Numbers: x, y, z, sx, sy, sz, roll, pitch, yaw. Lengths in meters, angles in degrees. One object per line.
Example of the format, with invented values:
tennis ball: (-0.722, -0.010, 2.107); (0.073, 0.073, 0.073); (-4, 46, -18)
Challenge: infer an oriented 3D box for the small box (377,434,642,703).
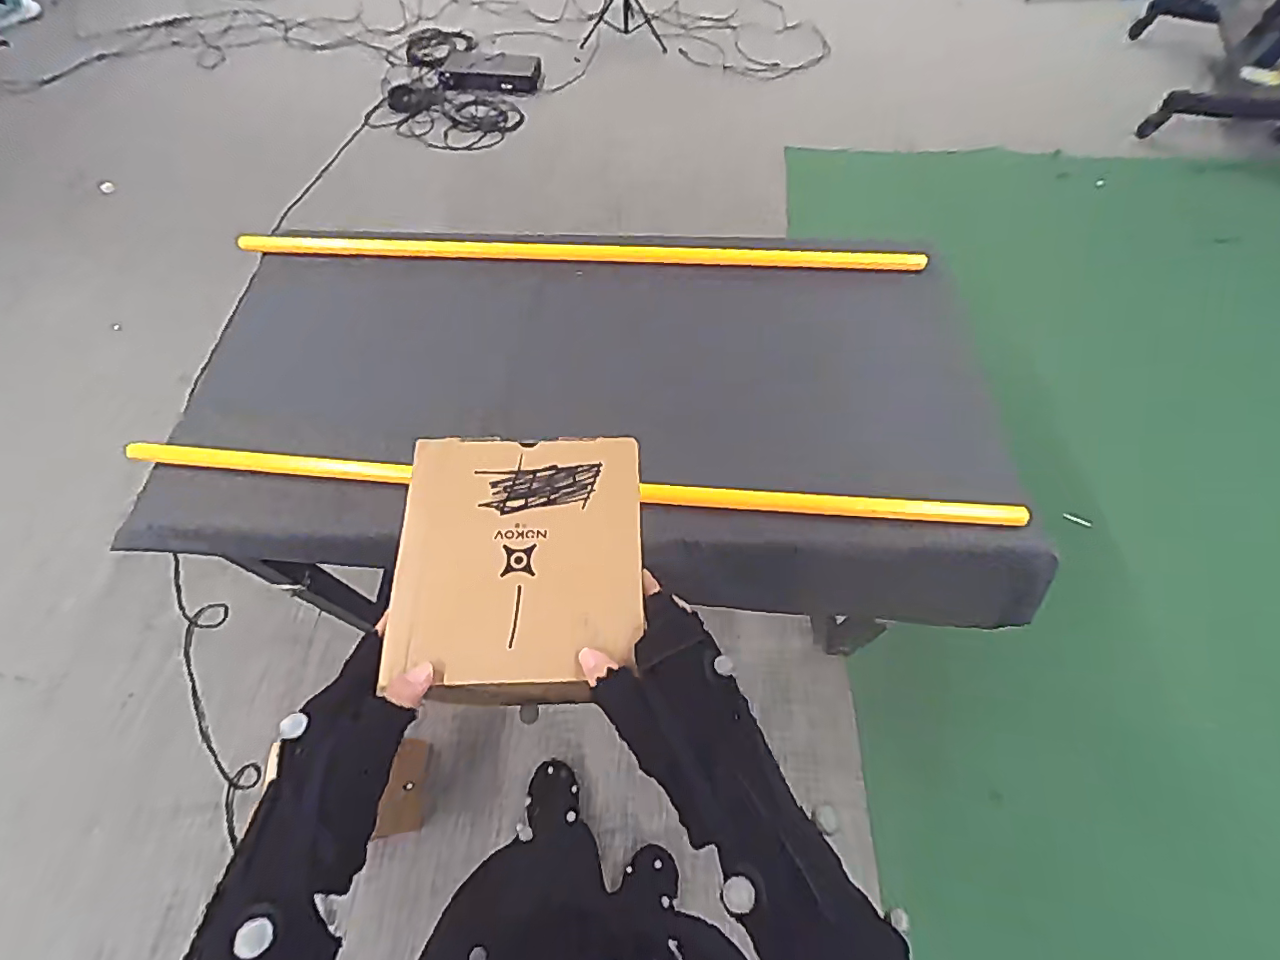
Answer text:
small box: (-0.085, 0.079, 0.442); (0.168, 0.176, 0.179); (-1, 64, -2)

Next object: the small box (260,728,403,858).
small box: (-0.553, 0.569, 0.997); (0.168, 0.176, 0.179); (-9, 61, -3)
